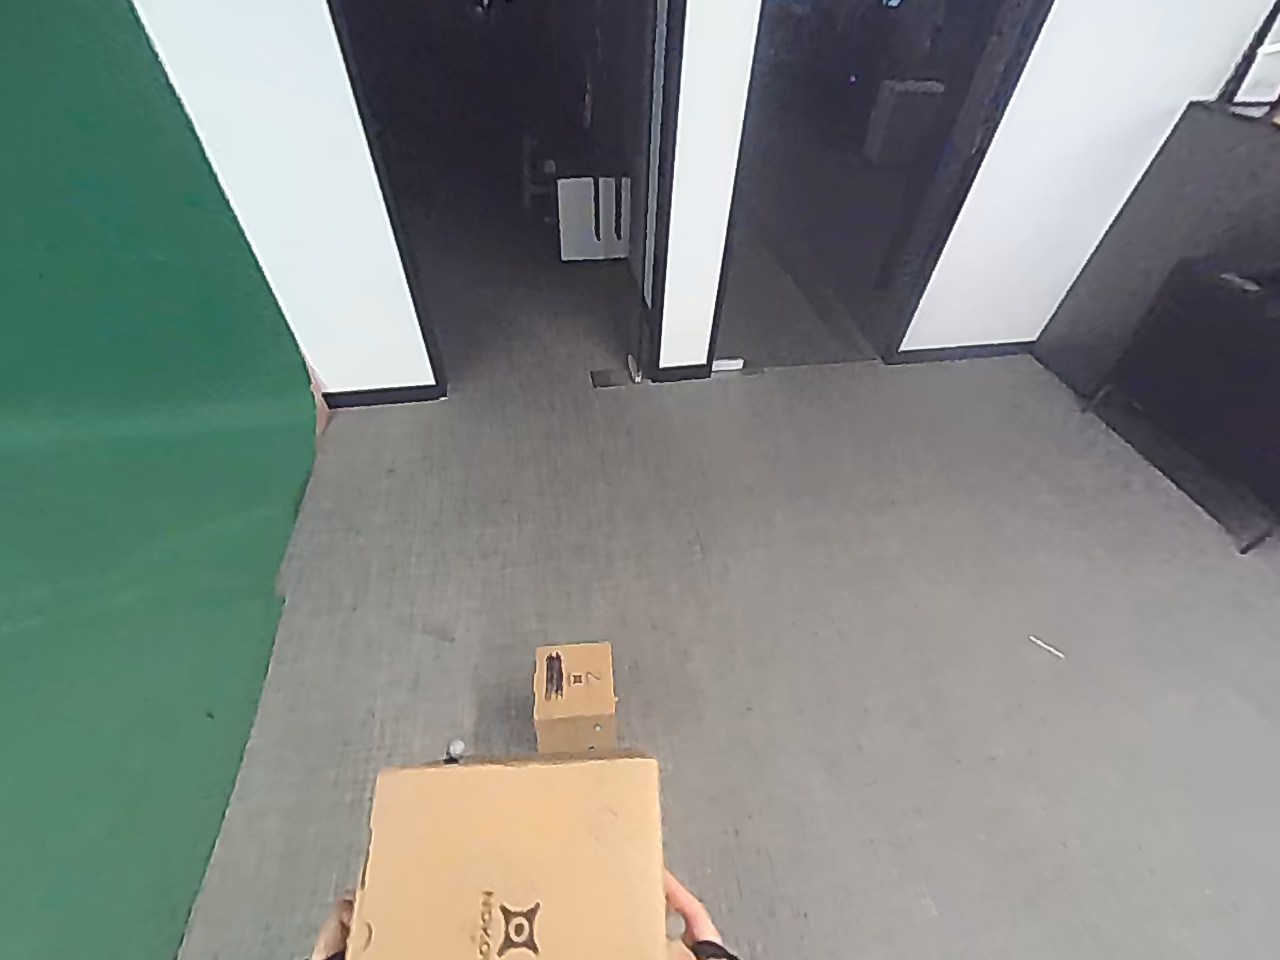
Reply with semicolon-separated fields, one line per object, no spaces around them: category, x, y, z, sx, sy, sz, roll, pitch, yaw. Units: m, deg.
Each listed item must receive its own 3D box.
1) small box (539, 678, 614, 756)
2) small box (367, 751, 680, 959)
small box;-0.157;0.618;1.373;0.179;0.176;0.168;-2;46;-4
small box;-0.065;0.288;0.377;0.179;0.176;0.168;-3;66;-1
